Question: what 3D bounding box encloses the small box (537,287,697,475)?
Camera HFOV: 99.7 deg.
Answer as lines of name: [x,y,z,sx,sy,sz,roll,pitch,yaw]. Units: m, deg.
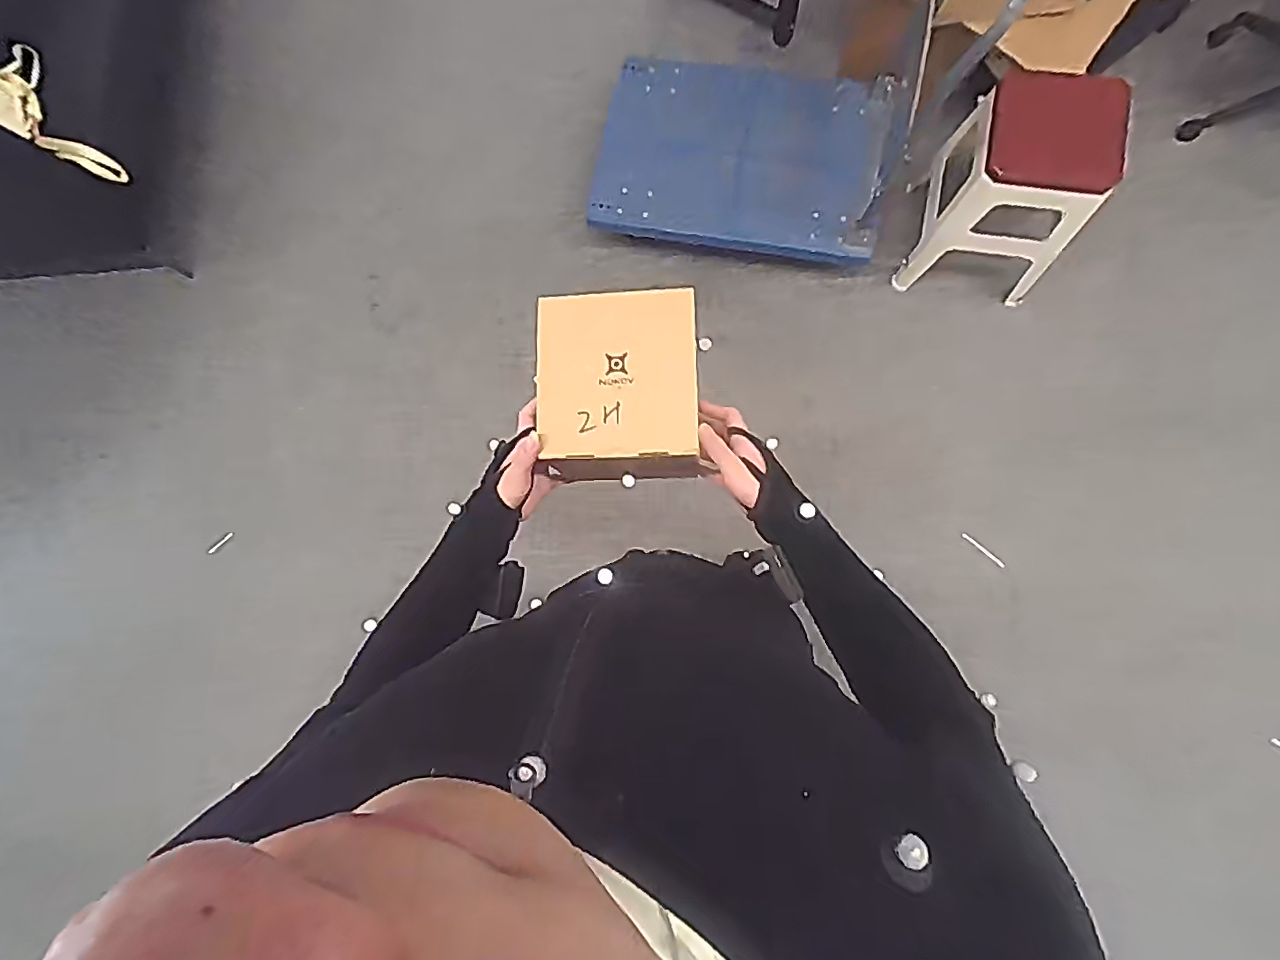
small box: [-0.018,-0.105,0.639,0.168,0.176,0.179,-1,83,6]
